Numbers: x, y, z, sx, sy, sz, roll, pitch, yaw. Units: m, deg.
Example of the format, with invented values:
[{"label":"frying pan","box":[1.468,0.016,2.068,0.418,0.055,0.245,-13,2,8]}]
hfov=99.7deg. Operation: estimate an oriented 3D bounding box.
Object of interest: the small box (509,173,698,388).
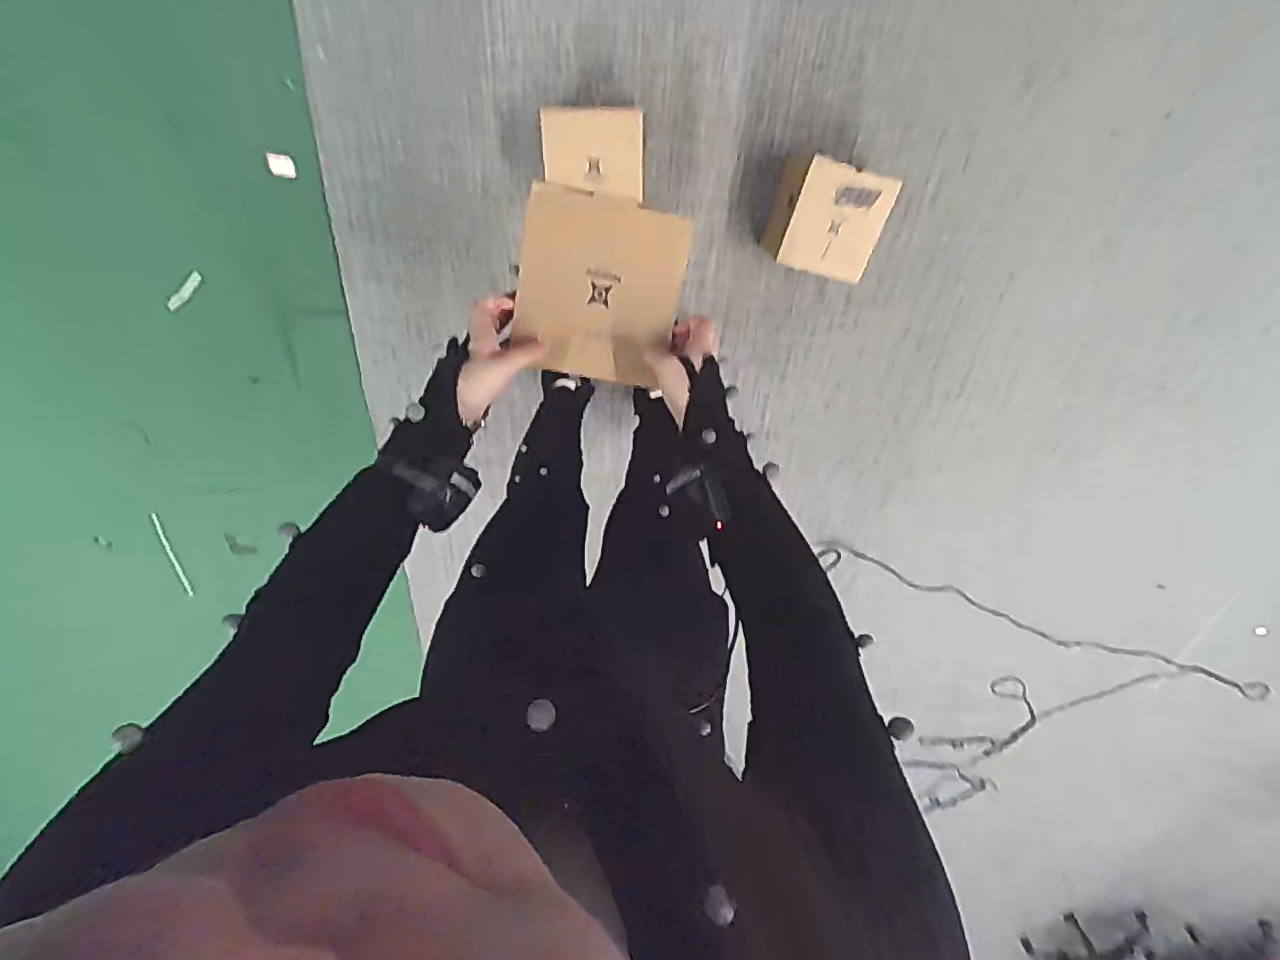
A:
[{"label":"small box","box":[-0.045,-0.212,0.609,0.168,0.176,0.179,9,105,-8]}]

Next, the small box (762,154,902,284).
[{"label":"small box","box":[0.343,-0.491,1.010,0.168,0.176,0.179,12,121,-8]}]

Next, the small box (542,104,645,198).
[{"label":"small box","box":[-0.077,-0.558,0.964,0.168,0.176,0.179,0,122,-1]}]
